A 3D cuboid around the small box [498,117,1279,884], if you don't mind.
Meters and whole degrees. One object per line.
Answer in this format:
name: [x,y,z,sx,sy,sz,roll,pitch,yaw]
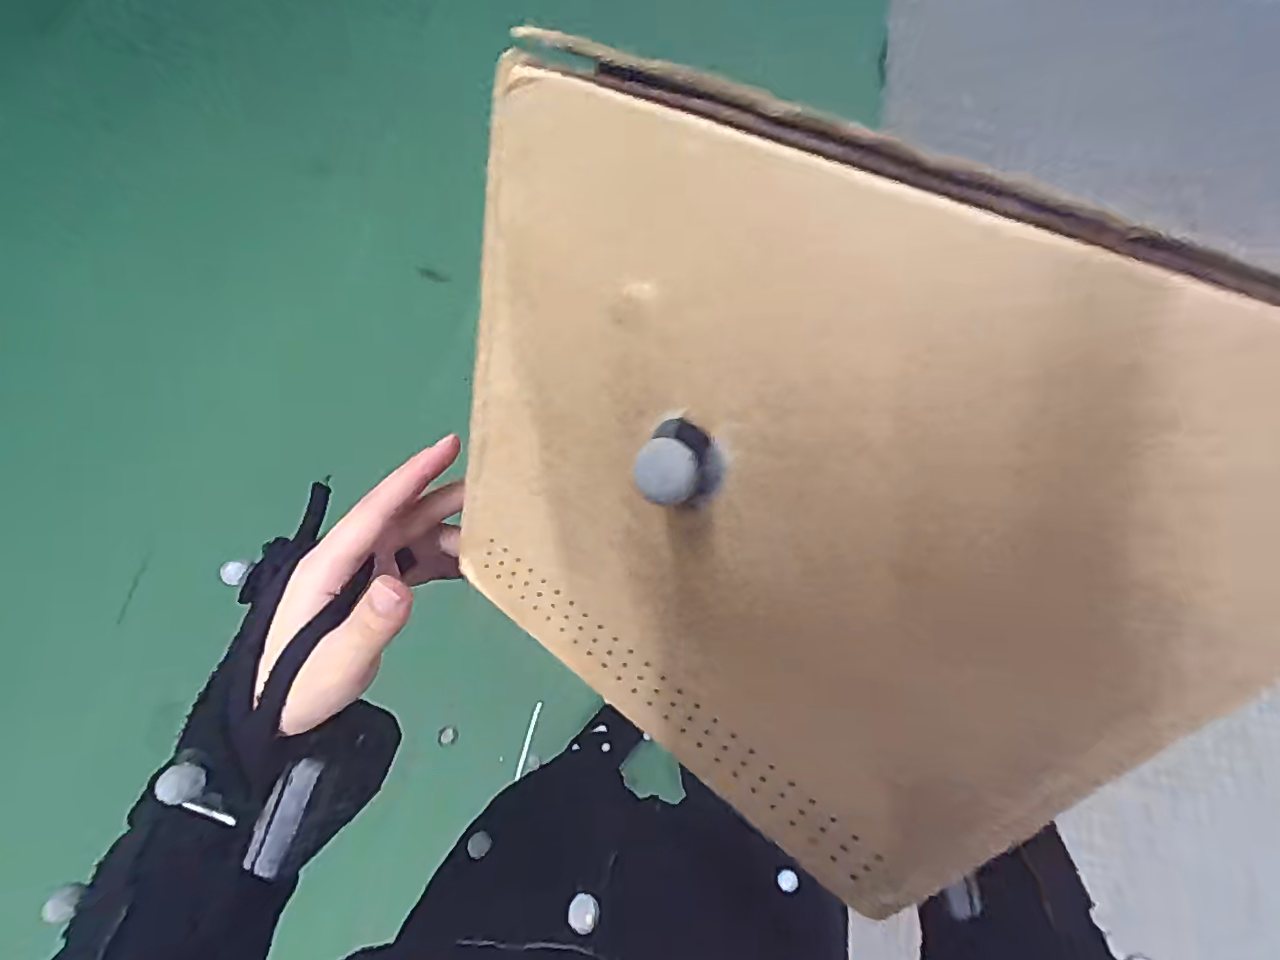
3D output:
small box: [0.067,-0.006,0.199,0.179,0.176,0.168,32,38,21]
